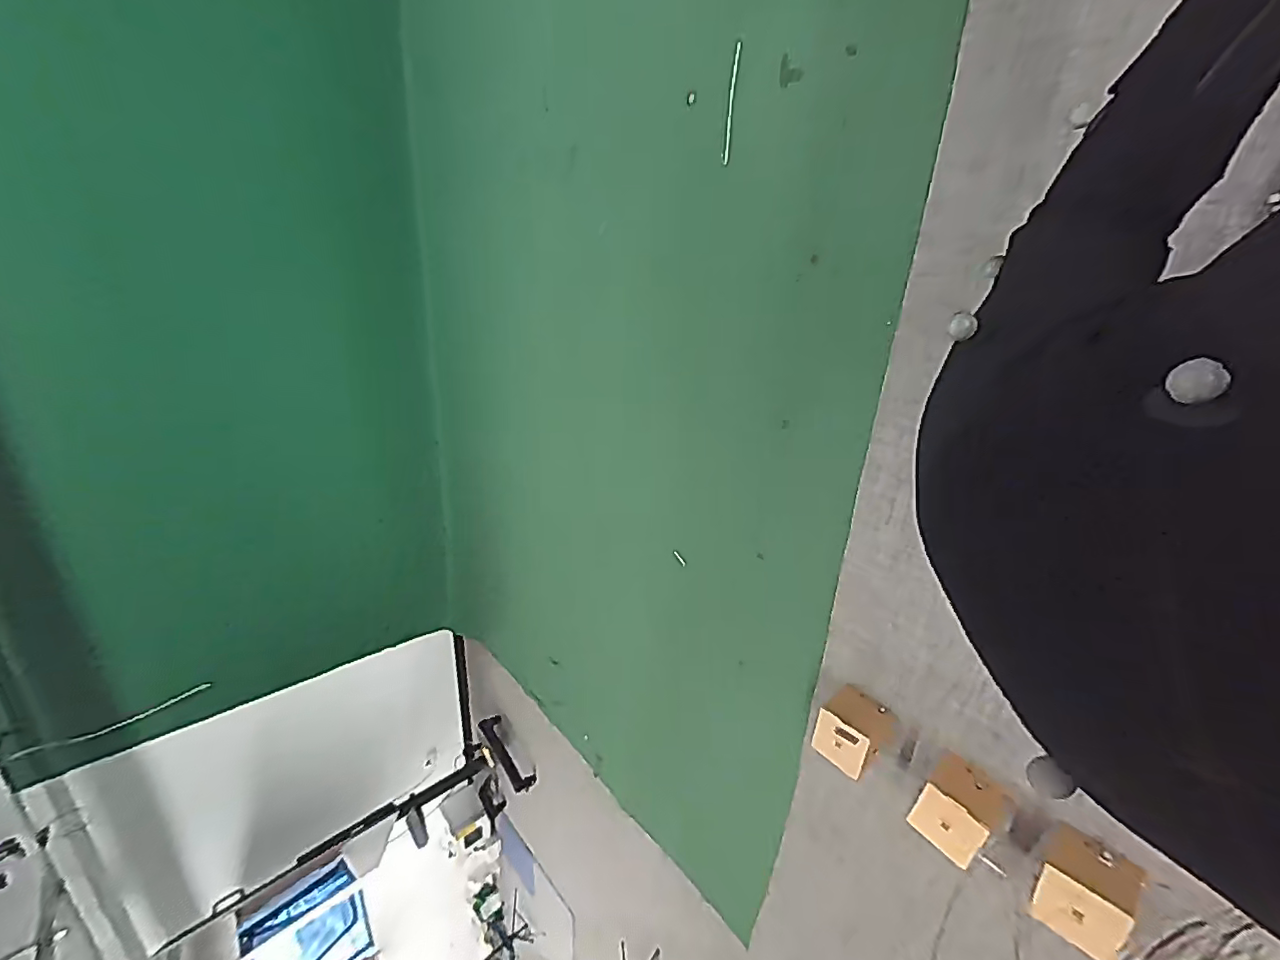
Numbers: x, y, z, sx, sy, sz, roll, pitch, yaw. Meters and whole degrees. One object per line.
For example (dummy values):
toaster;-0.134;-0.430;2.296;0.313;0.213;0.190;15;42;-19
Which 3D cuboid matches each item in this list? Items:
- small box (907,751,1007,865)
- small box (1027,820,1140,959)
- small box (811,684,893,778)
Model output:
small box;0.886;0.906;1.508;0.168;0.176;0.179;32;125;40
small box;1.076;0.986;1.310;0.168;0.176;0.179;21;116;43
small box;0.676;0.787;1.717;0.168;0.176;0.179;27;122;42
